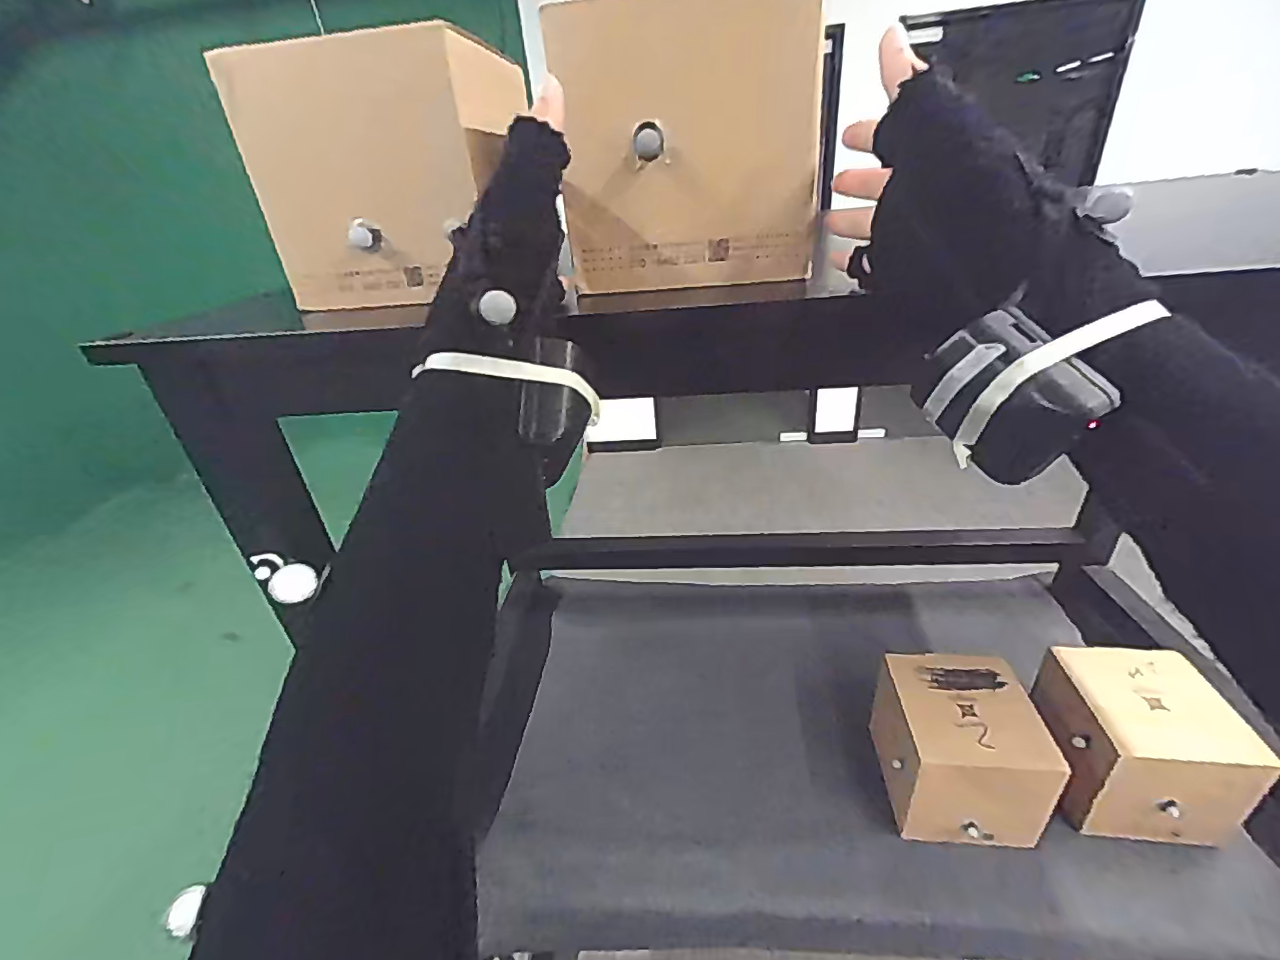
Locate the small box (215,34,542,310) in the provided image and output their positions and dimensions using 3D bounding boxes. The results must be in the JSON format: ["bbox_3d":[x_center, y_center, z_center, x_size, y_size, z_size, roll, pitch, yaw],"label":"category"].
[{"bbox_3d":[-0.189,-0.247,0.458,0.168,0.176,0.179,-1,31,7],"label":"small box"}]

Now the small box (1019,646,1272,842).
[{"bbox_3d":[0.657,0.353,0.734,0.168,0.176,0.179,0,29,10],"label":"small box"}]

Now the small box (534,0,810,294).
[{"bbox_3d":[0.033,-0.244,0.419,0.168,0.176,0.179,-1,29,8],"label":"small box"}]
